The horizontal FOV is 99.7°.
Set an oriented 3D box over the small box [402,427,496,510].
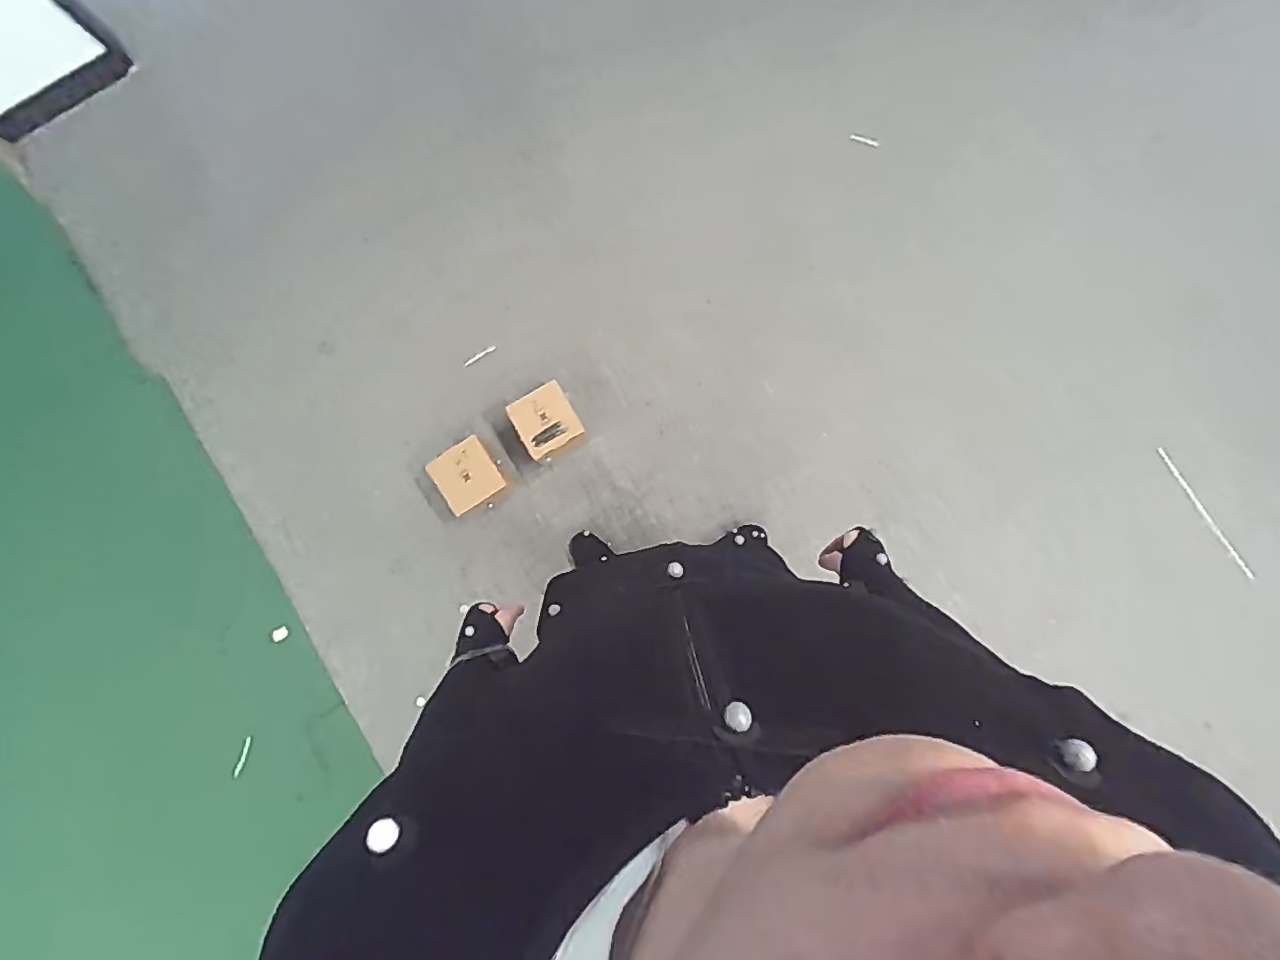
[{"bbox_3d":[-0.537,-0.029,1.550,0.168,0.176,0.179,-32,88,-4],"label":"small box"}]
